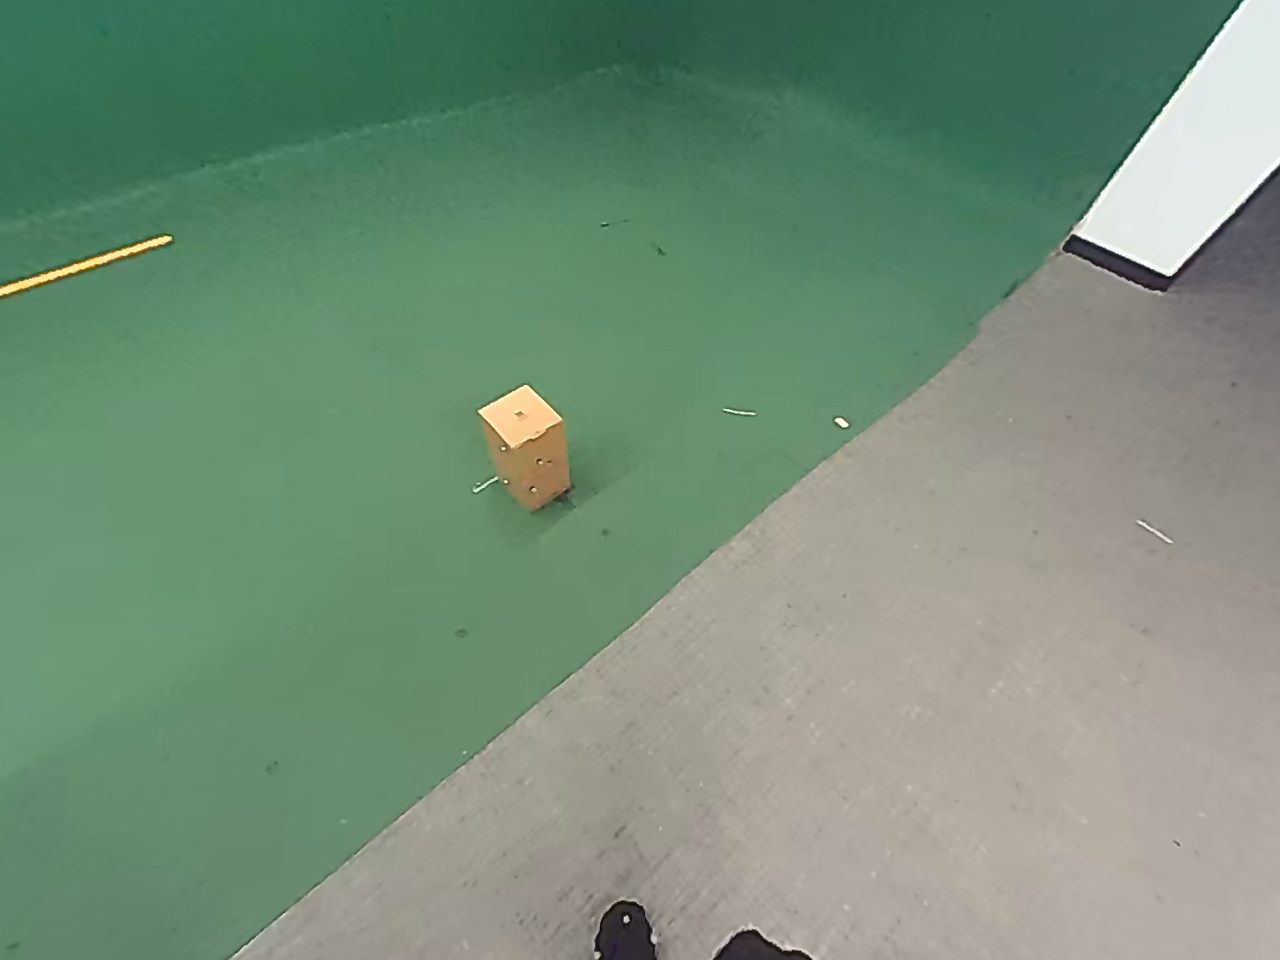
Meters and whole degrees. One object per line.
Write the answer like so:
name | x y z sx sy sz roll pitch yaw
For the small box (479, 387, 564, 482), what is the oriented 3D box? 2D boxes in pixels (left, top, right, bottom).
small box | -0.334 -0.126 1.544 0.168 0.176 0.179 -34 63 -26
